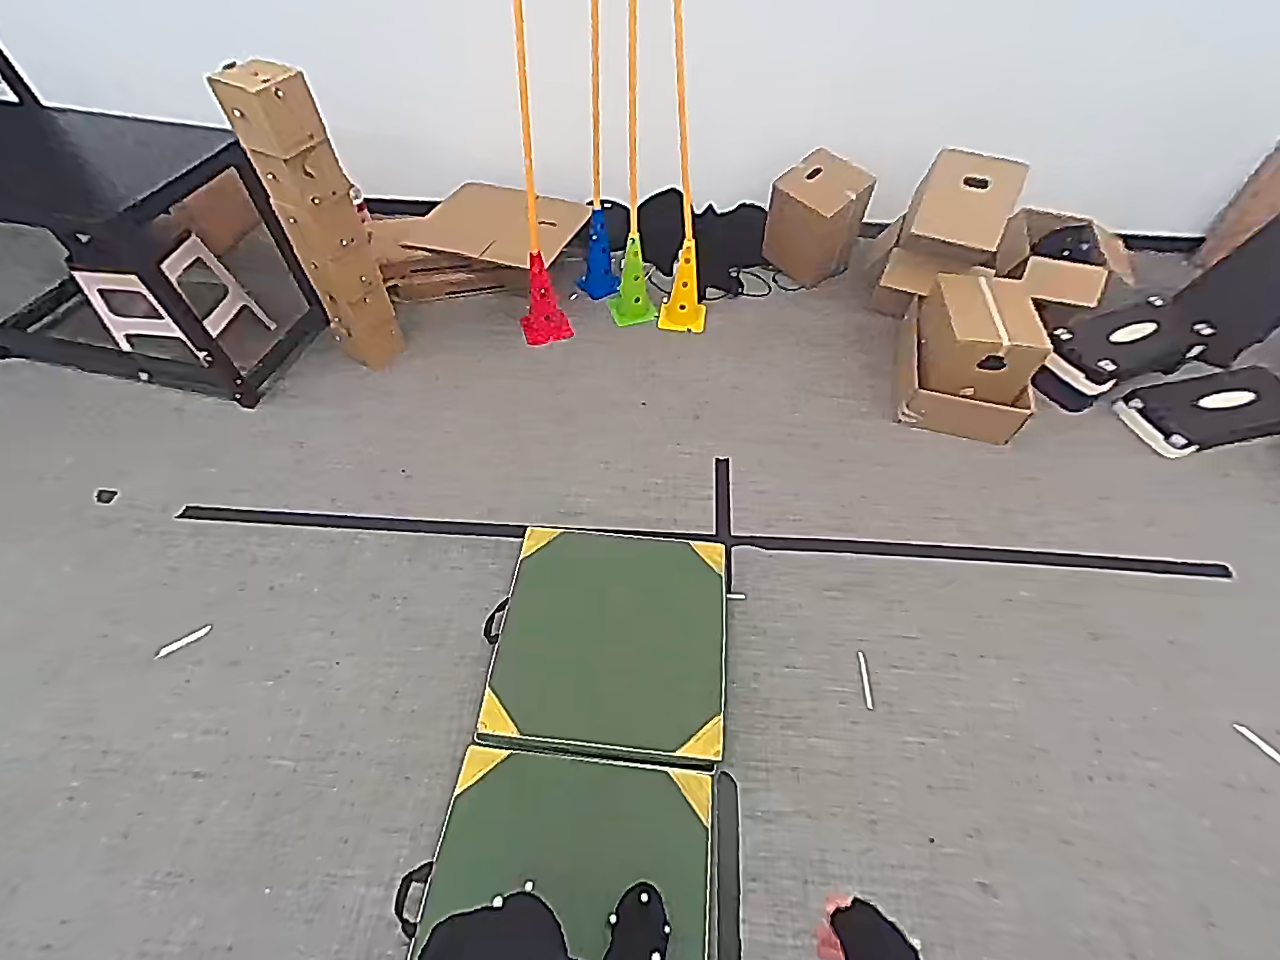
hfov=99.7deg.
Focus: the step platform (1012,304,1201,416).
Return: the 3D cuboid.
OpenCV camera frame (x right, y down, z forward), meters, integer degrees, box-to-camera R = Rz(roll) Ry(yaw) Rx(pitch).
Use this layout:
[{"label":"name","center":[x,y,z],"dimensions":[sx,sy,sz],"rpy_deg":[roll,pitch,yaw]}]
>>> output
[{"label":"step platform","center":[1.896,-0.499,2.200],"dimensions":[0.684,0.204,0.286],"rpy_deg":[-20,56,-15]}]
